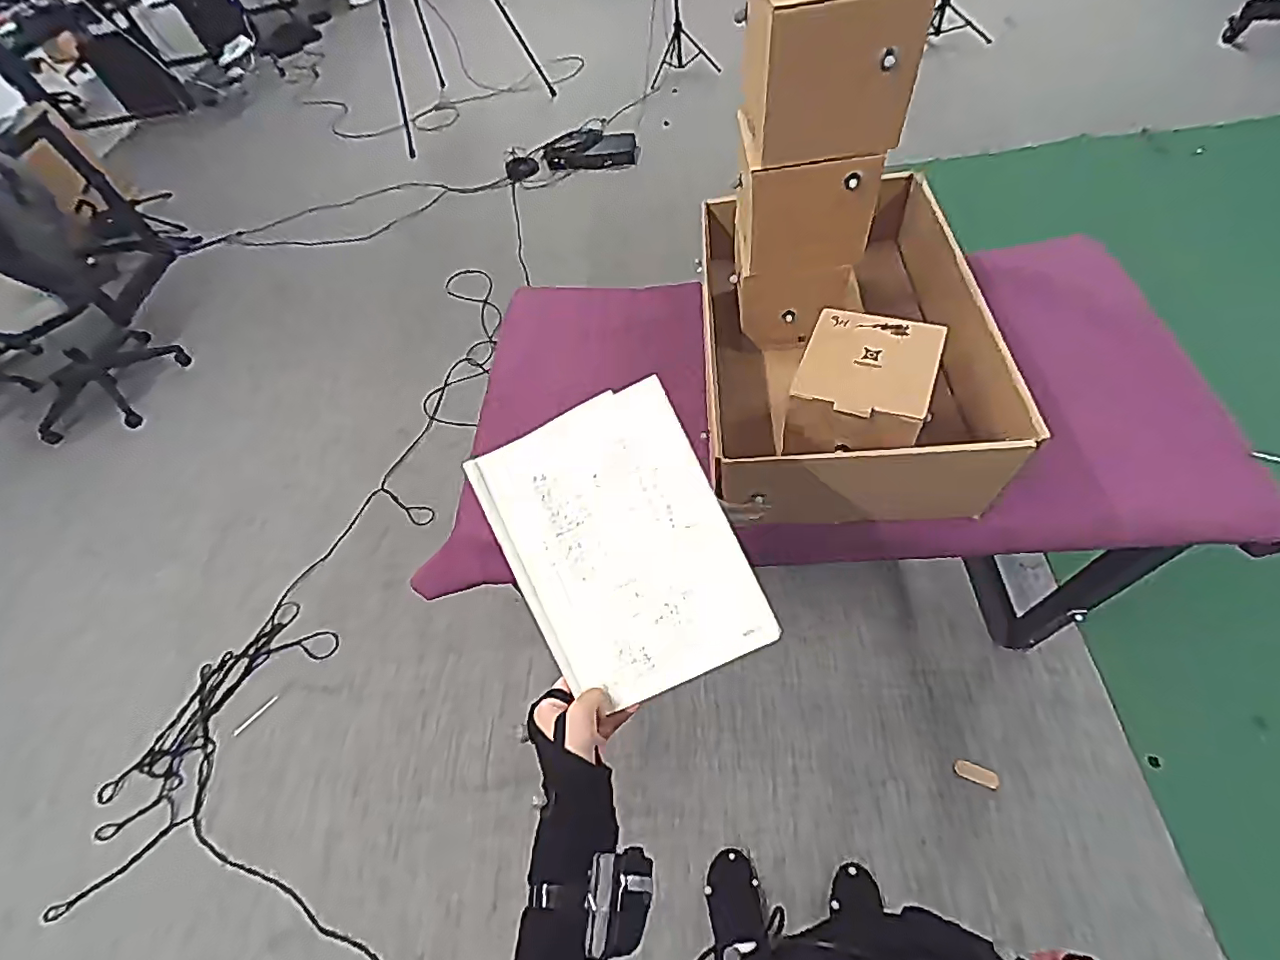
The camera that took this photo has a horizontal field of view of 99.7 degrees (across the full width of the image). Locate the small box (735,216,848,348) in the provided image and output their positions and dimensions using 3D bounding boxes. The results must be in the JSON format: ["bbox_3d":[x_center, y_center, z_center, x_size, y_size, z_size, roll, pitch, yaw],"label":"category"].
[{"bbox_3d":[0.254,-0.346,0.944,0.168,0.176,0.179,-3,58,8],"label":"small box"}]

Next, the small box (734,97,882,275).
[{"bbox_3d":[0.237,-0.429,0.807,0.179,0.176,0.168,-5,58,7],"label":"small box"}]
